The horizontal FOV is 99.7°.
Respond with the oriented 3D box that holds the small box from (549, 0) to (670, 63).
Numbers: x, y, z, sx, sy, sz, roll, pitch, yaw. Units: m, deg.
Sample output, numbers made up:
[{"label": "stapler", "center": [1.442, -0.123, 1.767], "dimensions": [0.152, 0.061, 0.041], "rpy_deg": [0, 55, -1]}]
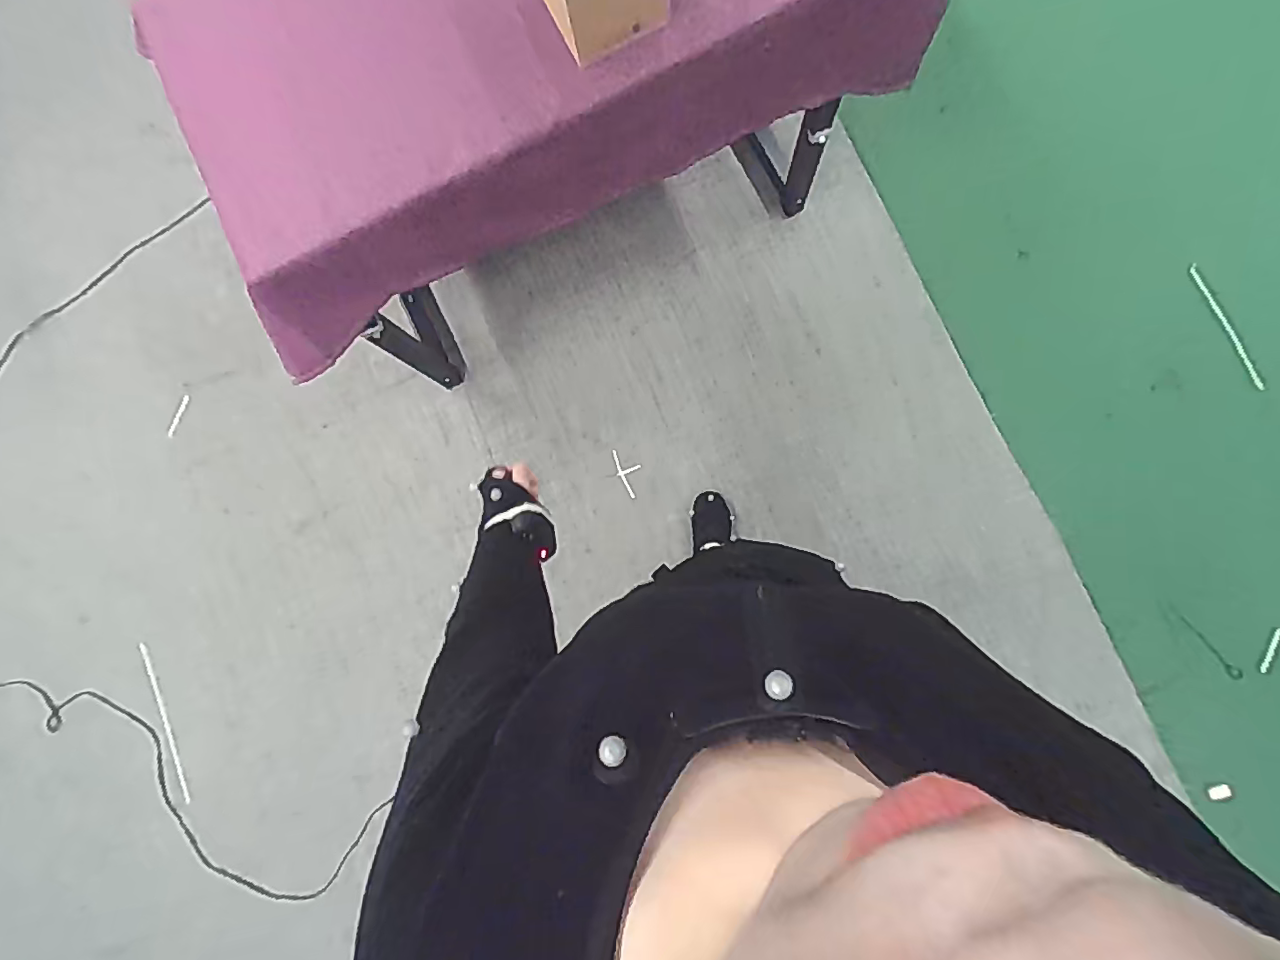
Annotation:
[{"label": "small box", "center": [-0.064, -0.791, 0.808], "dimensions": [0.168, 0.176, 0.179], "rpy_deg": [-26, 82, 3]}]
